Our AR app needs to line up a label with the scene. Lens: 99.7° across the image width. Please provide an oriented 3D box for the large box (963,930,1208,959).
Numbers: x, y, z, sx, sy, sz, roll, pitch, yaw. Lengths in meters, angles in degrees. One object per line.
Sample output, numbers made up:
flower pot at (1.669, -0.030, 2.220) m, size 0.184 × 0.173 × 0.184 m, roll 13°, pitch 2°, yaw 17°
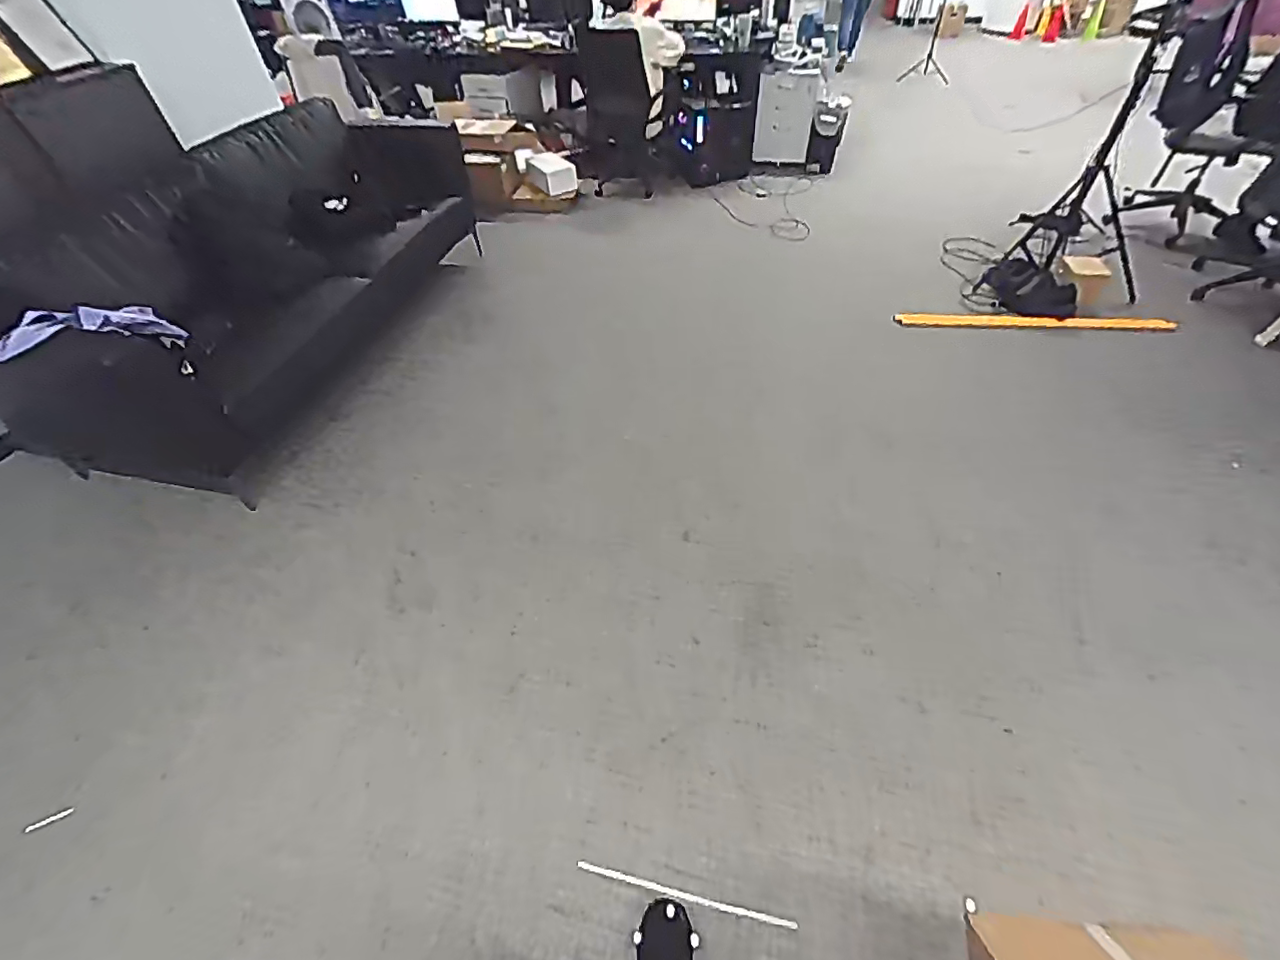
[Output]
large box at (0.587, 0.768, 0.542) m, size 0.320 × 0.408 × 0.320 m, roll 1°, pitch 83°, yaw 8°
